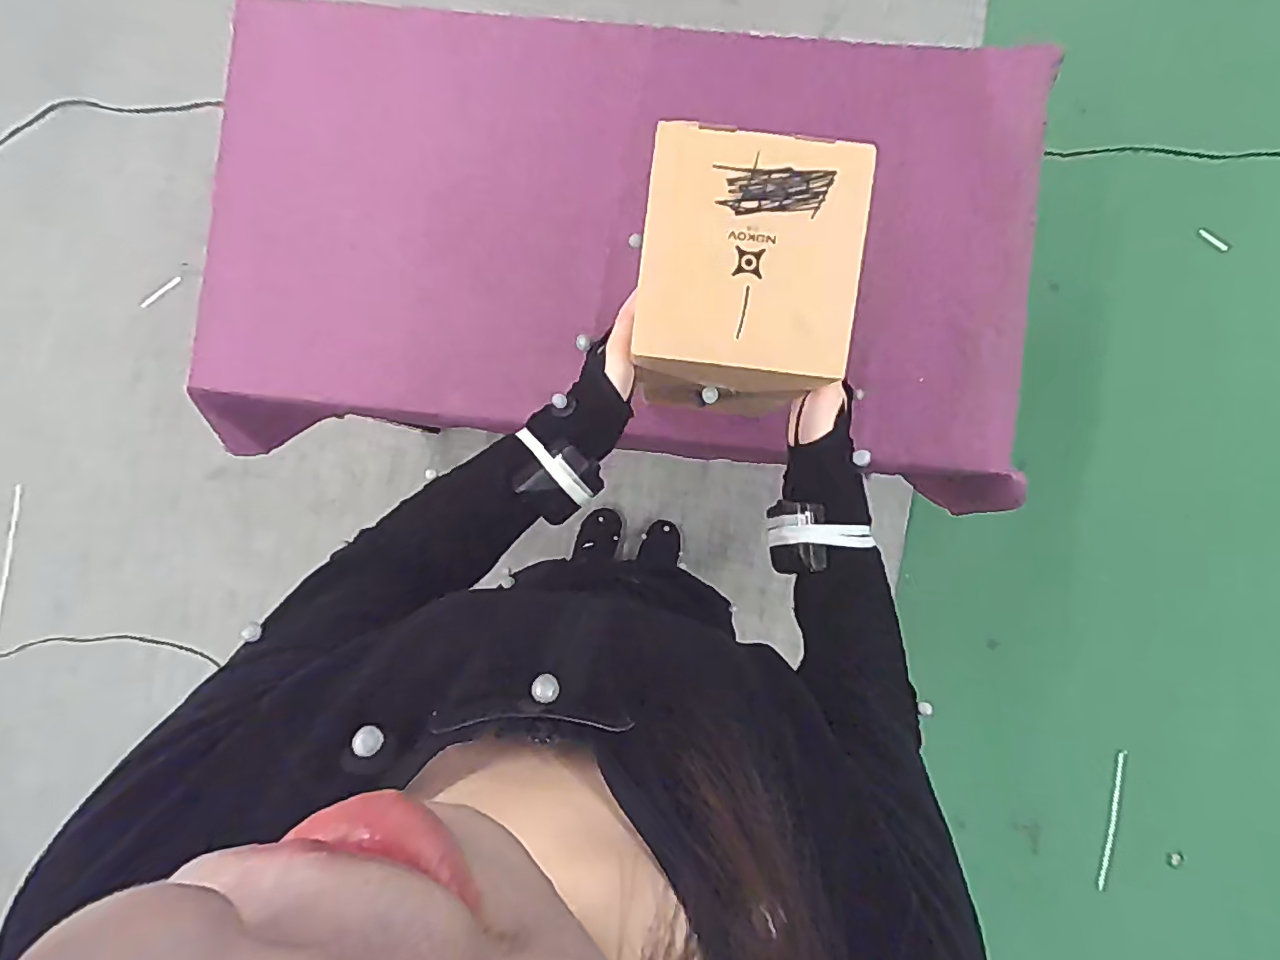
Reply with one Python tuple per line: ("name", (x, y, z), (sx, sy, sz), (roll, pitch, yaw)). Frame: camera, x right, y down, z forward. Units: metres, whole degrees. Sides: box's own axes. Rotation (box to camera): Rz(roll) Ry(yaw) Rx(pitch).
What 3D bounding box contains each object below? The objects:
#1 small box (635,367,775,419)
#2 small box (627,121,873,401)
("small box", (0.095, -0.180, 0.699), (0.179, 0.176, 0.168), (9, 89, 2))
("small box", (0.082, -0.174, 0.482), (0.168, 0.176, 0.179), (7, 94, 1))
